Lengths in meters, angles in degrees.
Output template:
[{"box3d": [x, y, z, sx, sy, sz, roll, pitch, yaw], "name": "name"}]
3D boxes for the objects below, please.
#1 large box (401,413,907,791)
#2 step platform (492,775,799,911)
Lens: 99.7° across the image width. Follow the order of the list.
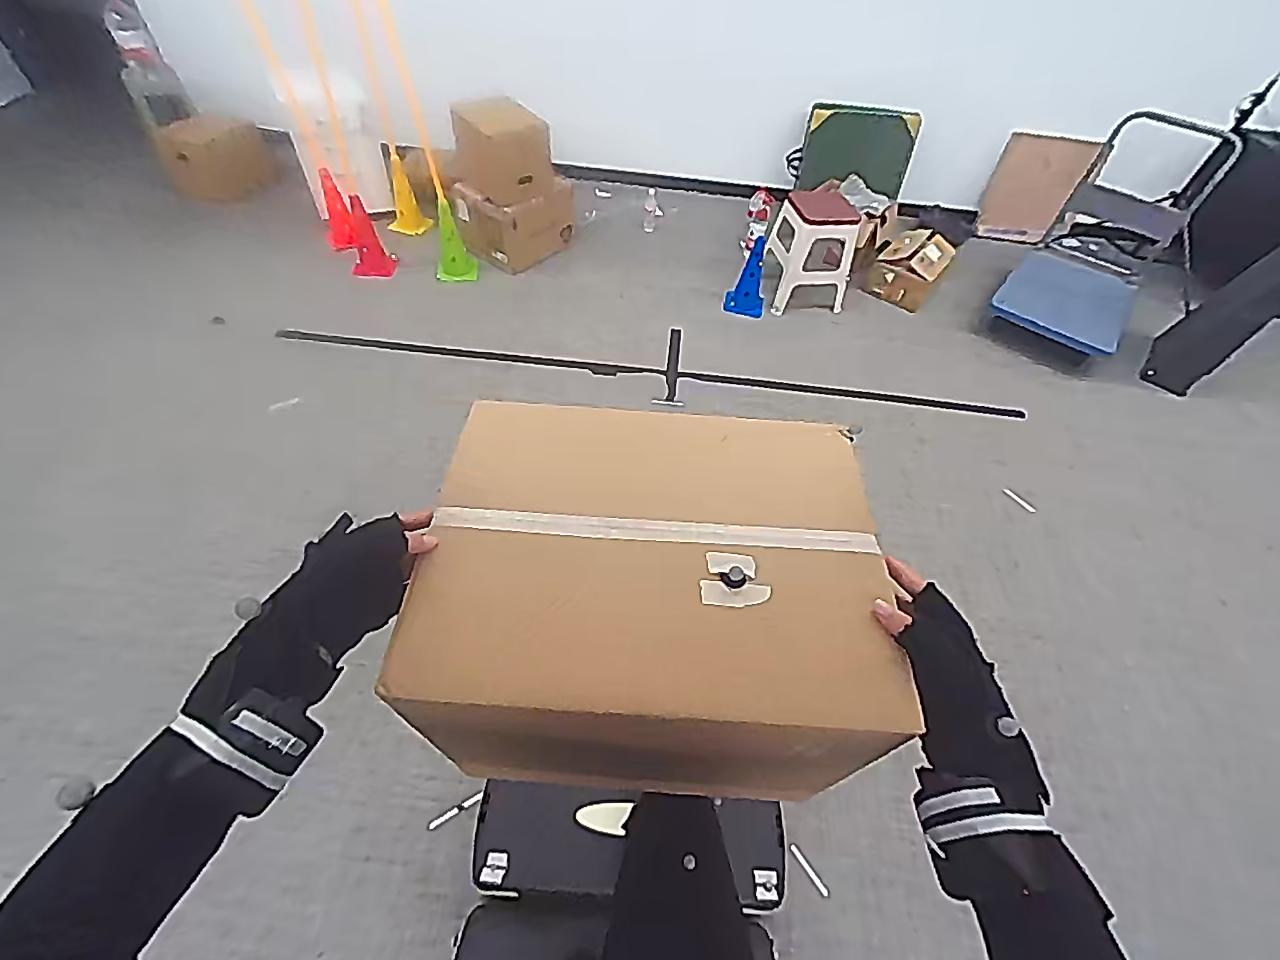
[{"box3d": [0.009, 0.148, 0.623, 0.408, 0.320, 0.320, 4, 52, 0], "name": "large box"}, {"box3d": [0.013, 0.798, 1.255, 0.684, 0.204, 0.286, 6, 50, -2], "name": "step platform"}]
